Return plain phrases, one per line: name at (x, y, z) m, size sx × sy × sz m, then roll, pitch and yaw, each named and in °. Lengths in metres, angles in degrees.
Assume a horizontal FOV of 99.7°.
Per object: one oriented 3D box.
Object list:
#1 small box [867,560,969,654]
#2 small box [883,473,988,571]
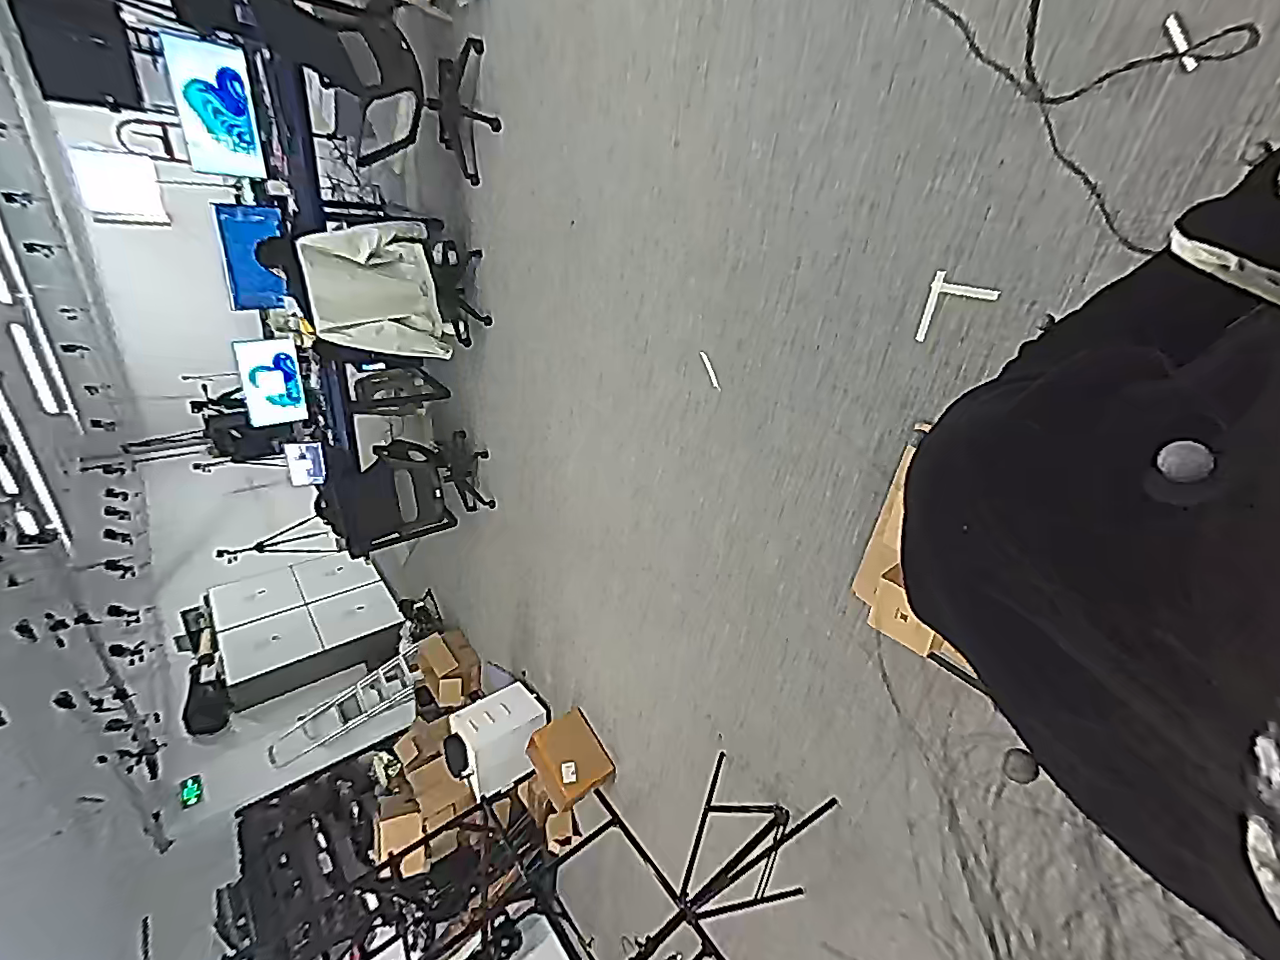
small box at (0.768, 0.340, 1.496) m, size 0.179 × 0.176 × 0.168 m, roll 28°, pitch 125°, yaw 42°
small box at (0.768, 0.099, 1.400) m, size 0.168 × 0.176 × 0.179 m, roll 31°, pitch 126°, yaw 42°
